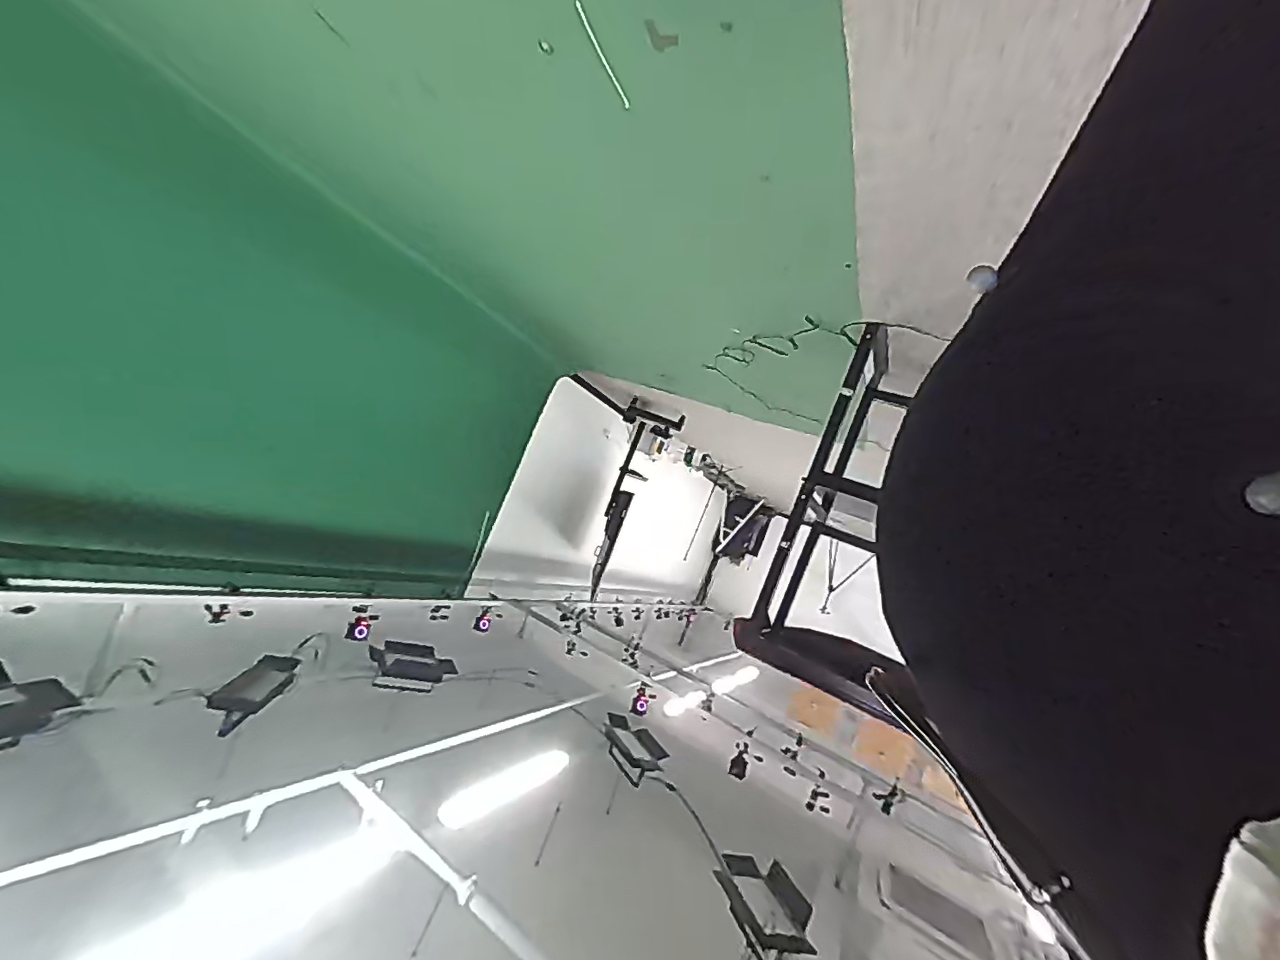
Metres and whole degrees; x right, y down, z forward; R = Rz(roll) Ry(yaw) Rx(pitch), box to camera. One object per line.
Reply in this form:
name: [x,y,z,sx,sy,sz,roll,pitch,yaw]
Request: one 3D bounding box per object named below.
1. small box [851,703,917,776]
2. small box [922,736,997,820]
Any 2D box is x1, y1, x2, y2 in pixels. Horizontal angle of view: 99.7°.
small box: [0.909,0.956,2.015,0.179,0.176,0.168,20,177,28]
small box: [1.119,1.038,1.899,0.179,0.176,0.168,22,177,26]
